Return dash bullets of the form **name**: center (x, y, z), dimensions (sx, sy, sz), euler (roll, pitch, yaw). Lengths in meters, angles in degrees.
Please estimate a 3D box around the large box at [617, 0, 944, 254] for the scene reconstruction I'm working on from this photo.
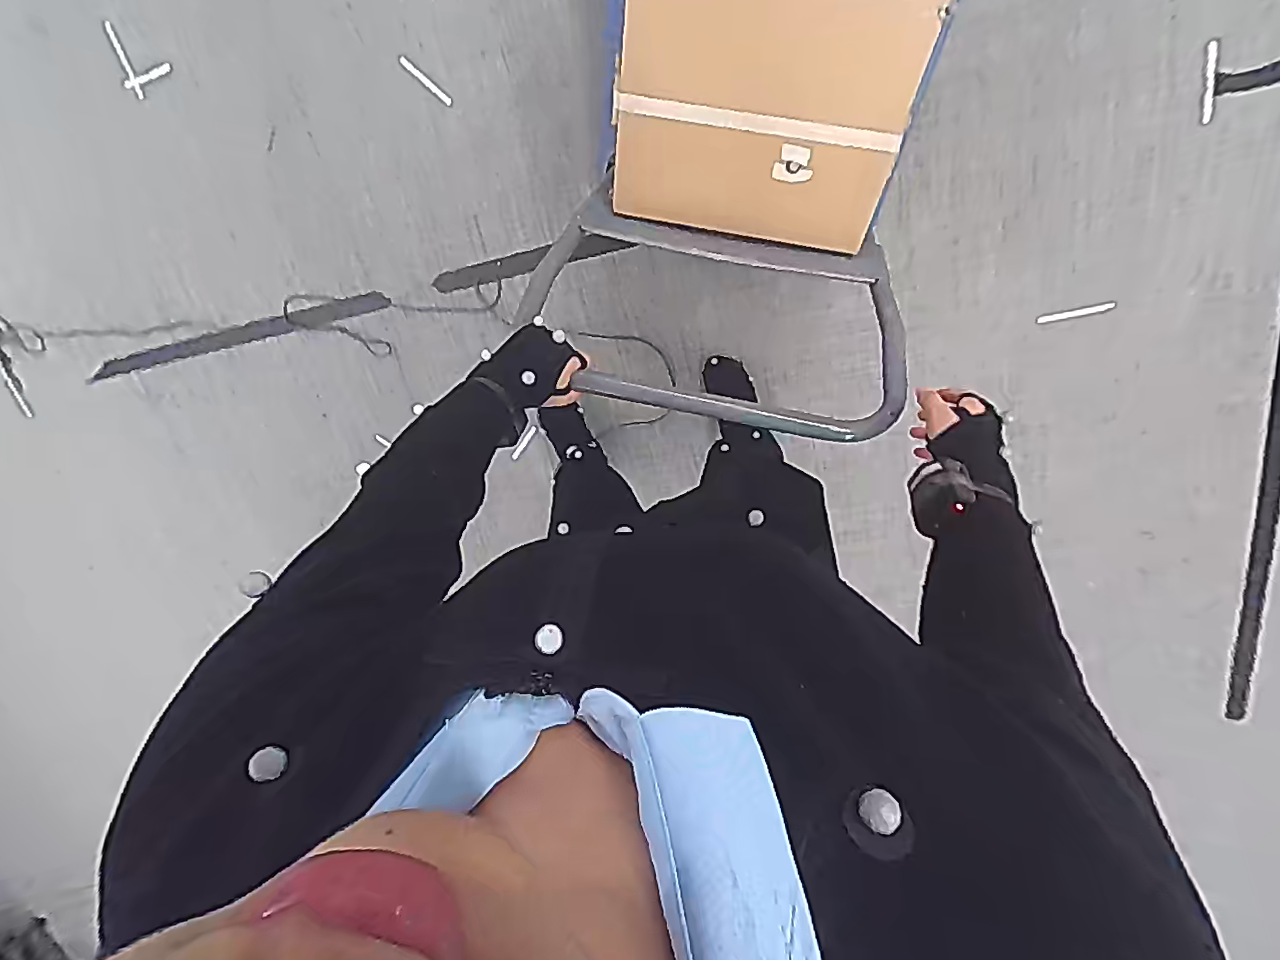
- **large box**: center (0.193, -0.608, 0.893), dimensions (0.408, 0.320, 0.320), euler (11, 133, 3)
